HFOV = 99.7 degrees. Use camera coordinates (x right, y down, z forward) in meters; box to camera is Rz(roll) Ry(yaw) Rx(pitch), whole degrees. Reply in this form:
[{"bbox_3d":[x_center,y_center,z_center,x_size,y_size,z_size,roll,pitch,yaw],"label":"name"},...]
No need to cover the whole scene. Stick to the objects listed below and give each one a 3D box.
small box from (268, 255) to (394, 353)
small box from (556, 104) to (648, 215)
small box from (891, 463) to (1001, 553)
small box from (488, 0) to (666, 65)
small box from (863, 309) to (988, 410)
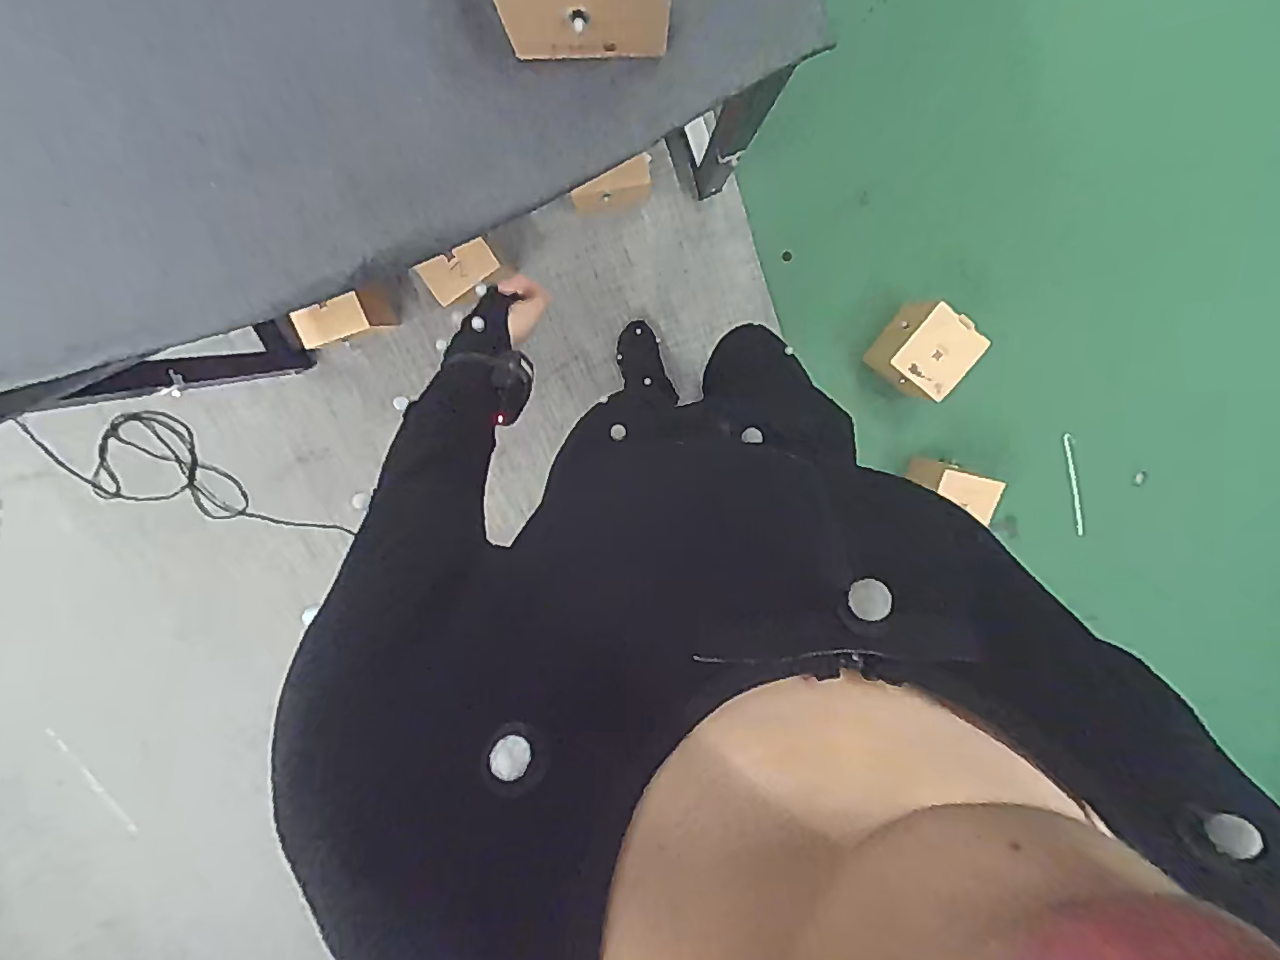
[{"bbox_3d":[-0.718,-0.413,1.282,0.168,0.176,0.179,-17,105,4],"label":"small box"},{"bbox_3d":[-0.080,-0.704,1.206,0.179,0.176,0.168,-9,106,0],"label":"small box"},{"bbox_3d":[0.799,0.069,1.434,0.168,0.176,0.179,12,104,-5],"label":"small box"},{"bbox_3d":[-0.057,-0.518,0.499,0.168,0.176,0.179,-1,103,-1],"label":"small box"},{"bbox_3d":[0.690,-0.299,1.330,0.168,0.176,0.179,35,102,-10],"label":"small box"}]
